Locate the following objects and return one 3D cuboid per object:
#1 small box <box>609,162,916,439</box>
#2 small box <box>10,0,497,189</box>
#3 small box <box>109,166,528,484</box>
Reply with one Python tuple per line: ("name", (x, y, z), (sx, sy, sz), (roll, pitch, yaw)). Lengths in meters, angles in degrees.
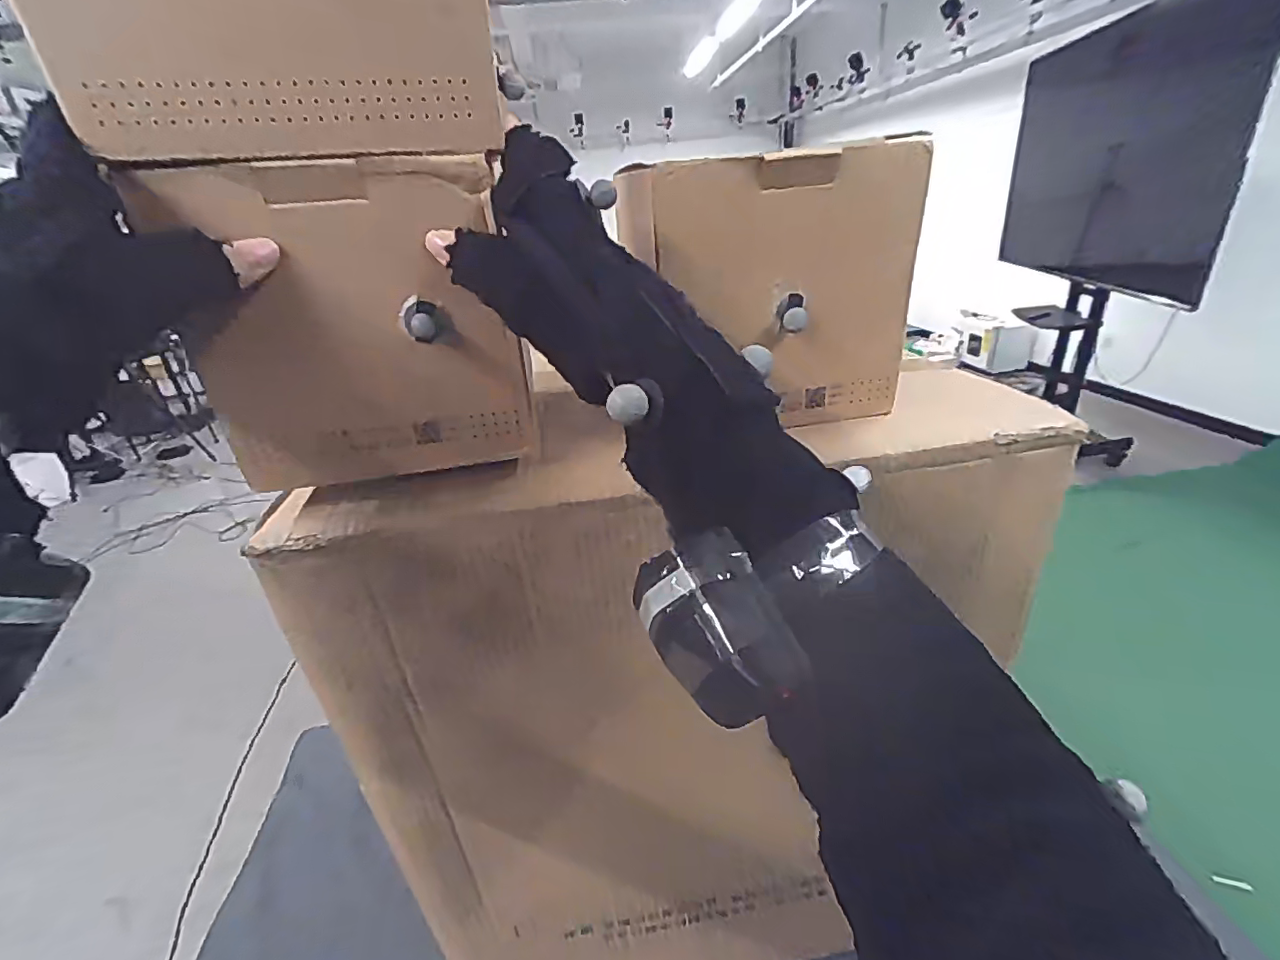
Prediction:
("small box", (0.073, -0.137, 0.411), (0.168, 0.176, 0.179), (-7, 29, -7))
("small box", (-0.171, -0.244, 0.272), (0.179, 0.176, 0.168), (-9, 32, -15))
("small box", (-0.168, -0.106, 0.360), (0.168, 0.176, 0.179), (-8, 29, -9))
